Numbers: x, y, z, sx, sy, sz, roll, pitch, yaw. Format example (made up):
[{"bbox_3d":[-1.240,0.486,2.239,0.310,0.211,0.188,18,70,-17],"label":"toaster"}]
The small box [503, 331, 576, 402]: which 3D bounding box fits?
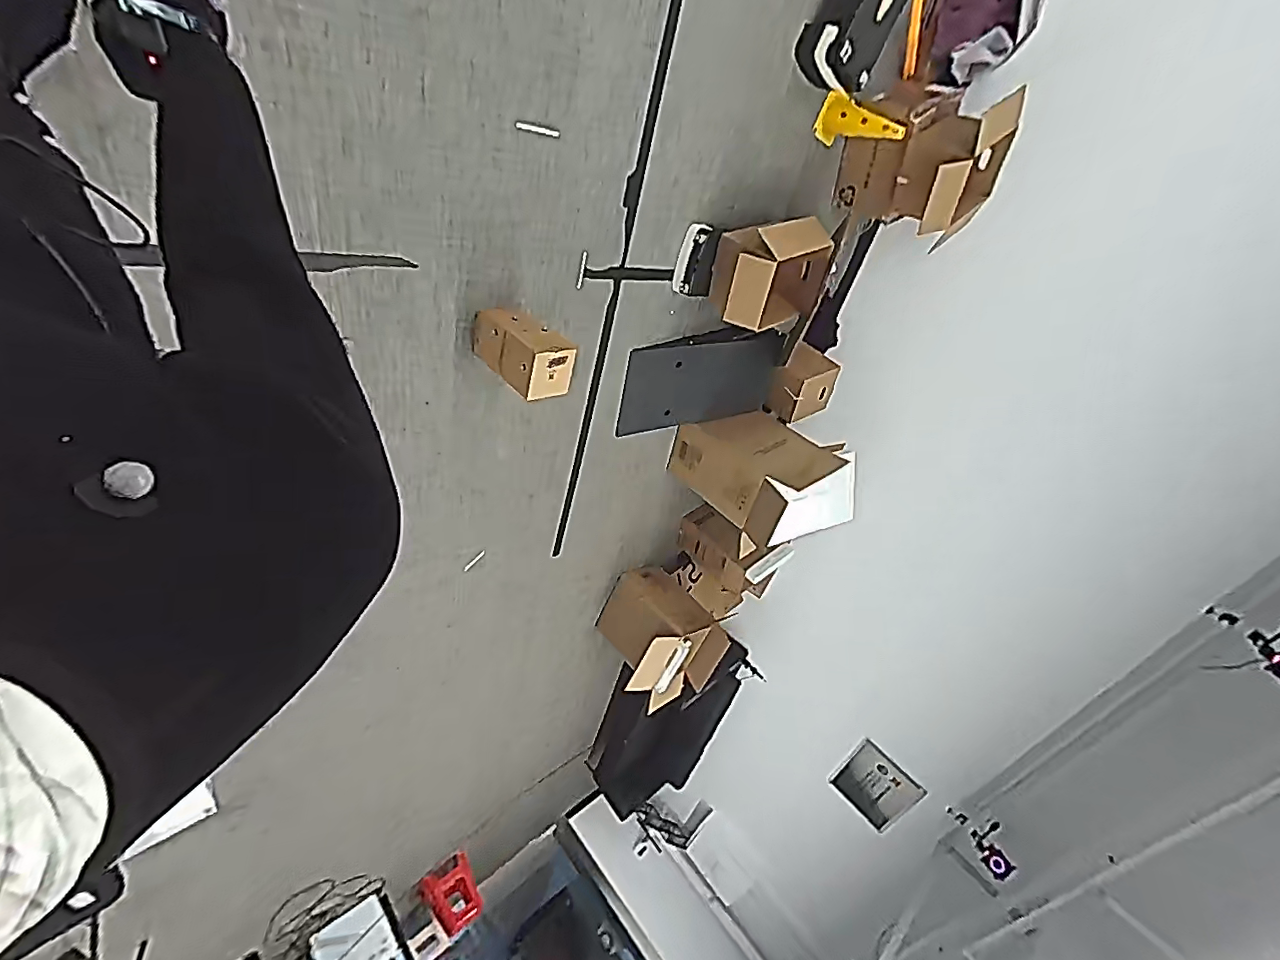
[{"bbox_3d":[-0.340,-0.386,1.799,0.168,0.176,0.179,-19,140,-42],"label":"small box"}]
